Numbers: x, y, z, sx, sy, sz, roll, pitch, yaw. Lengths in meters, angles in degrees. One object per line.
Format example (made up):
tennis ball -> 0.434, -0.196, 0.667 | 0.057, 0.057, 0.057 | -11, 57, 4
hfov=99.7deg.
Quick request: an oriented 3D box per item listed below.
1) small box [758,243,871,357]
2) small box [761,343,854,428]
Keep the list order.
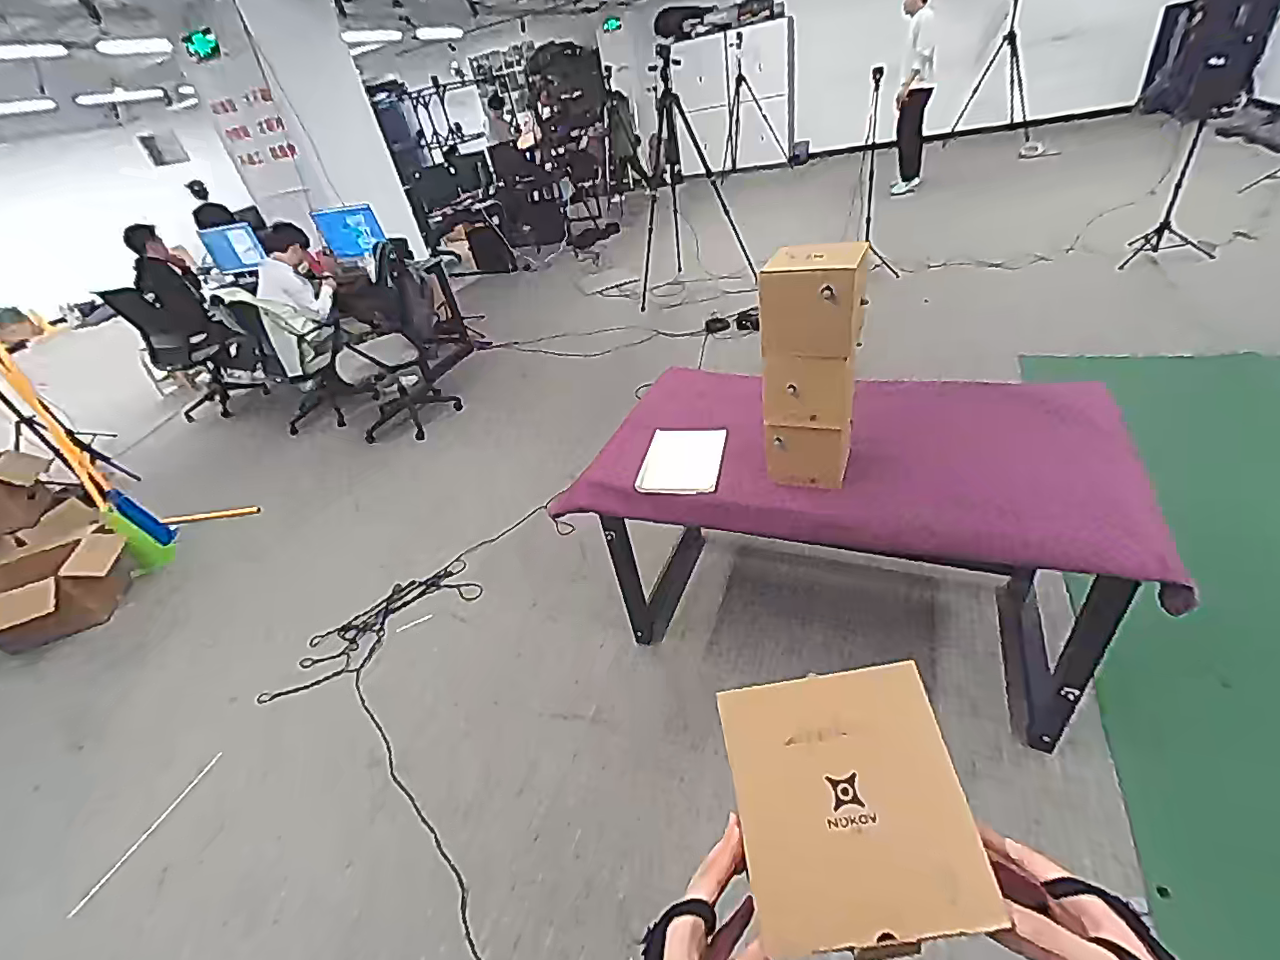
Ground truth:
small box -> 0.343, -0.353, 1.064 | 0.179, 0.176, 0.168 | 9, 39, 27
small box -> 0.367, -0.225, 1.167 | 0.168, 0.176, 0.179 | 7, 39, 25
